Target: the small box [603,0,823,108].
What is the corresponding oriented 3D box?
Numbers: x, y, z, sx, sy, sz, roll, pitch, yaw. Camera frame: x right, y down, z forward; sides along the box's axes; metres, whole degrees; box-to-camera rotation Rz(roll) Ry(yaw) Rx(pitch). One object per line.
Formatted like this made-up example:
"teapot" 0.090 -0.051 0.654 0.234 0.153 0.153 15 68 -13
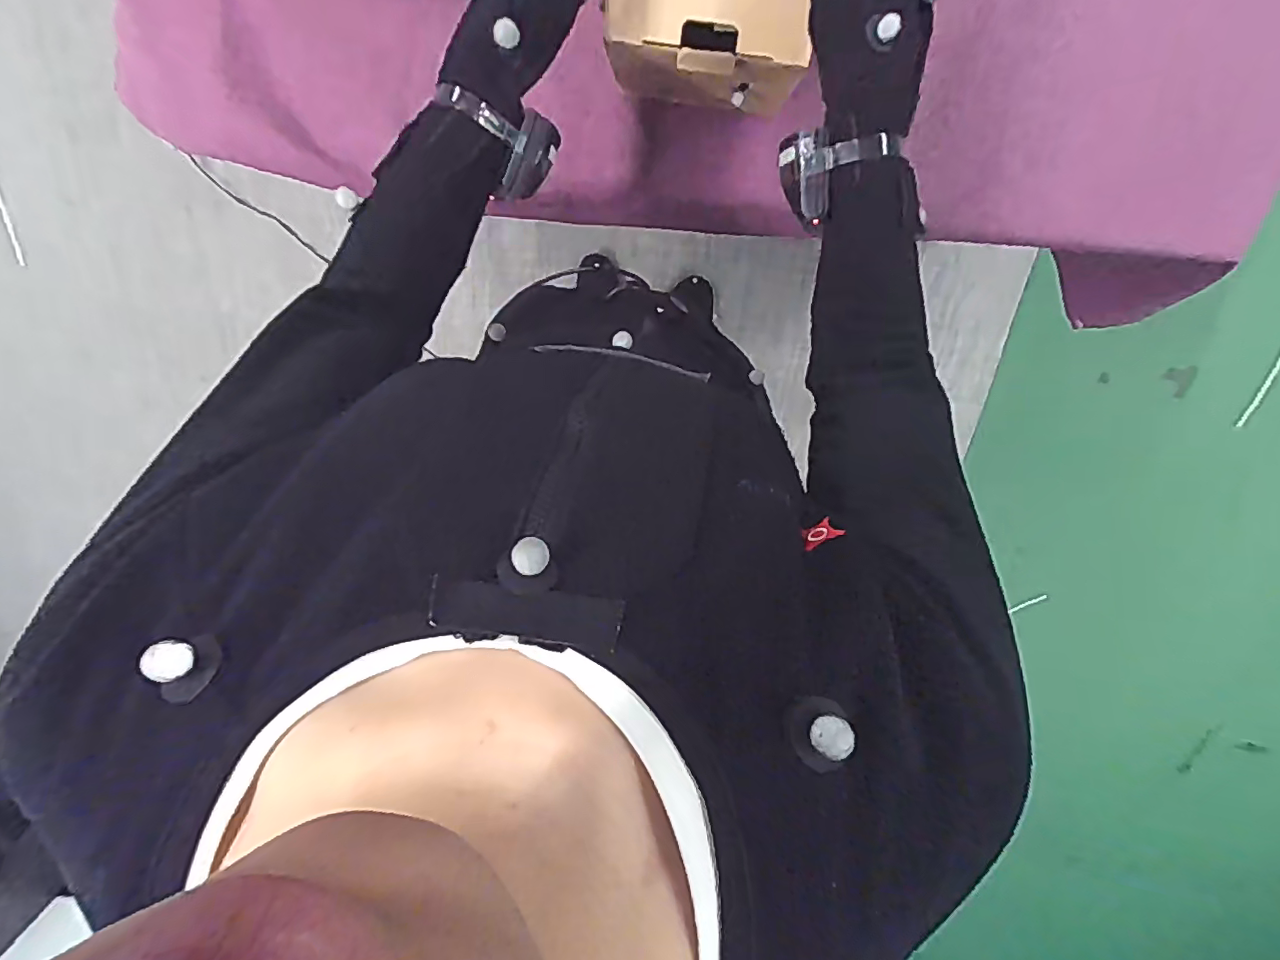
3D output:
"small box" 0.068 -0.440 0.458 0.168 0.176 0.179 8 113 0
